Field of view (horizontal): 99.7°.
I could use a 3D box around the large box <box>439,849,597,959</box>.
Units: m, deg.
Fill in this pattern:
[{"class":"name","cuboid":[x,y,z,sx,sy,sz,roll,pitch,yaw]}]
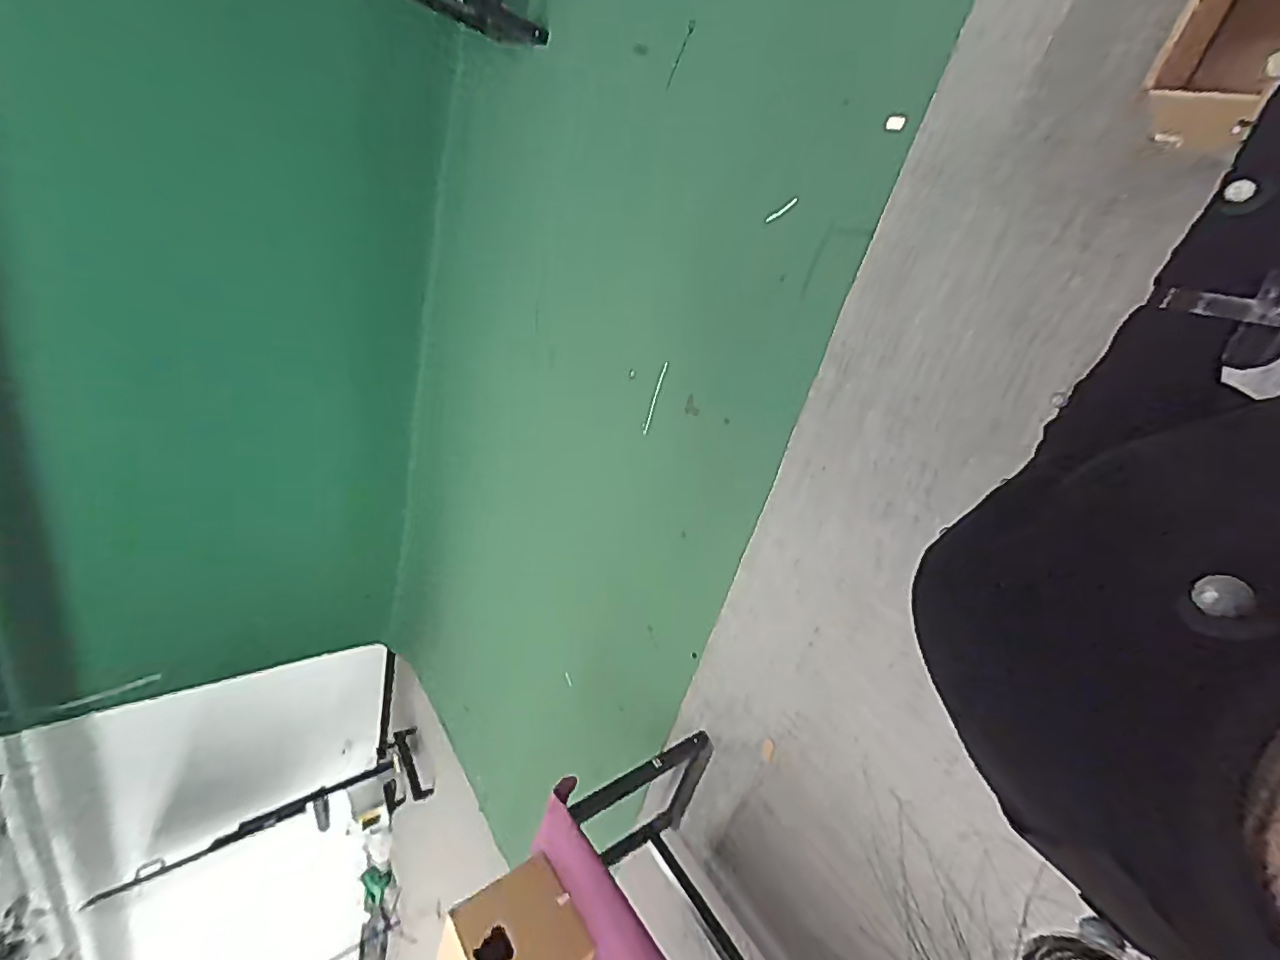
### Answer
[{"class":"large box","cuboid":[-0.371,1.409,1.583,0.320,0.320,0.408,37,119,38]}]
